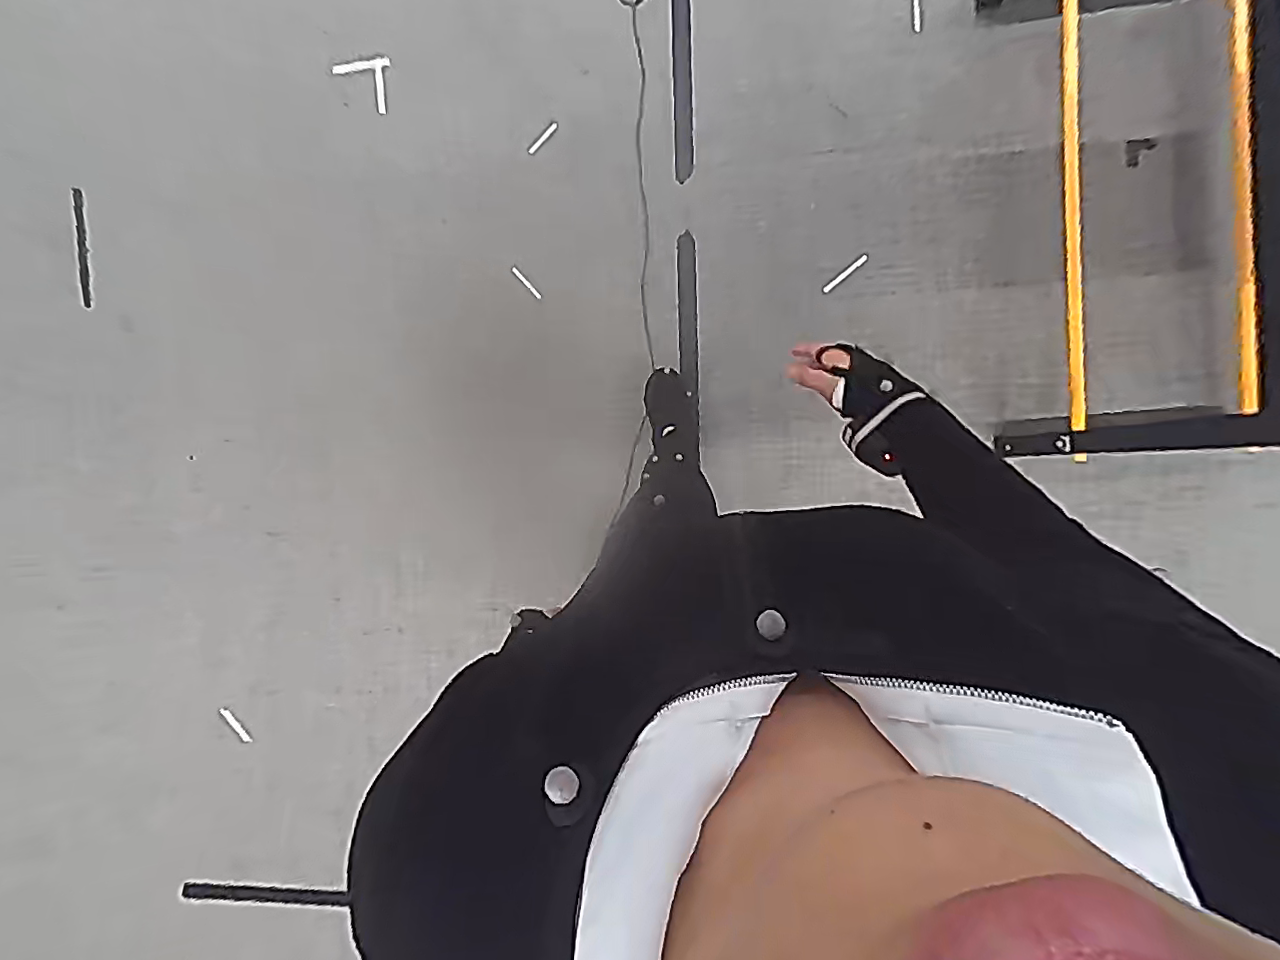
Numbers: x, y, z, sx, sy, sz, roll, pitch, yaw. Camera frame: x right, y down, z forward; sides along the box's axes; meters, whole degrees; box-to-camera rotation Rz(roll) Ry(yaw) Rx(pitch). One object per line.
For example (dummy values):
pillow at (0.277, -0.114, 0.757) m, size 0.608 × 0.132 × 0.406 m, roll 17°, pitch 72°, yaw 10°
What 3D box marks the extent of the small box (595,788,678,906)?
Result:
small box at (-0.002, 0.851, 1.269) m, size 0.179 × 0.176 × 0.168 m, roll -2°, pitch 91°, yaw 7°
